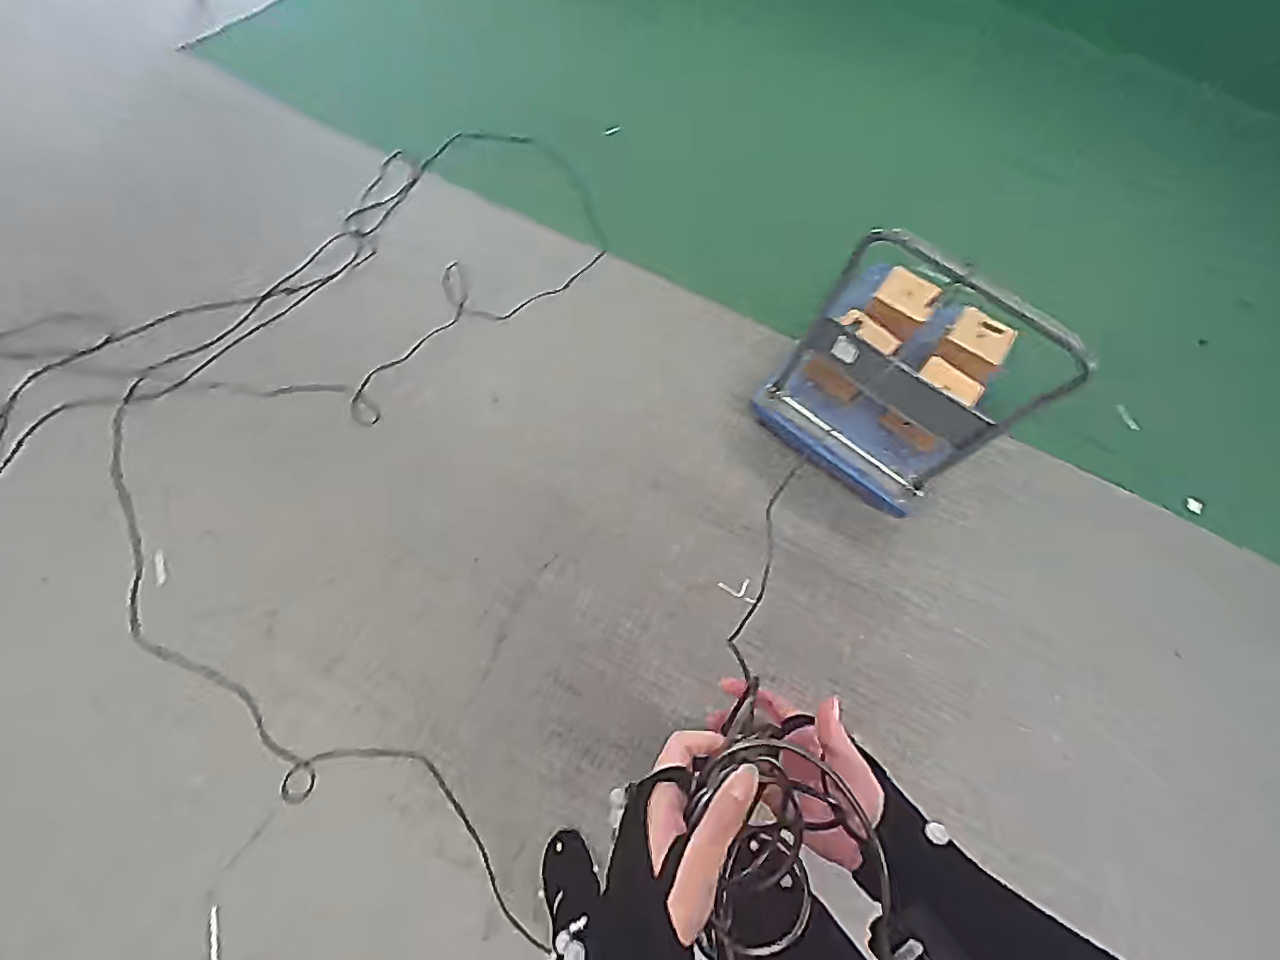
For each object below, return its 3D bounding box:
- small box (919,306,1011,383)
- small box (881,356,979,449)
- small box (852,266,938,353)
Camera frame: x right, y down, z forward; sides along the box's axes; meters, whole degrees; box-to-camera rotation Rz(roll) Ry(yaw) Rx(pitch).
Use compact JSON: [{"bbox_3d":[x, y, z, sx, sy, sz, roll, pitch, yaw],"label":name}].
[{"bbox_3d":[1.029,-0.411,1.724,0.168,0.176,0.179,34,66,11],"label":"small box"},{"bbox_3d":[0.859,-0.228,1.620,0.168,0.176,0.179,39,67,12],"label":"small box"},{"bbox_3d":[0.824,-0.551,1.768,0.168,0.176,0.179,35,66,9],"label":"small box"}]
